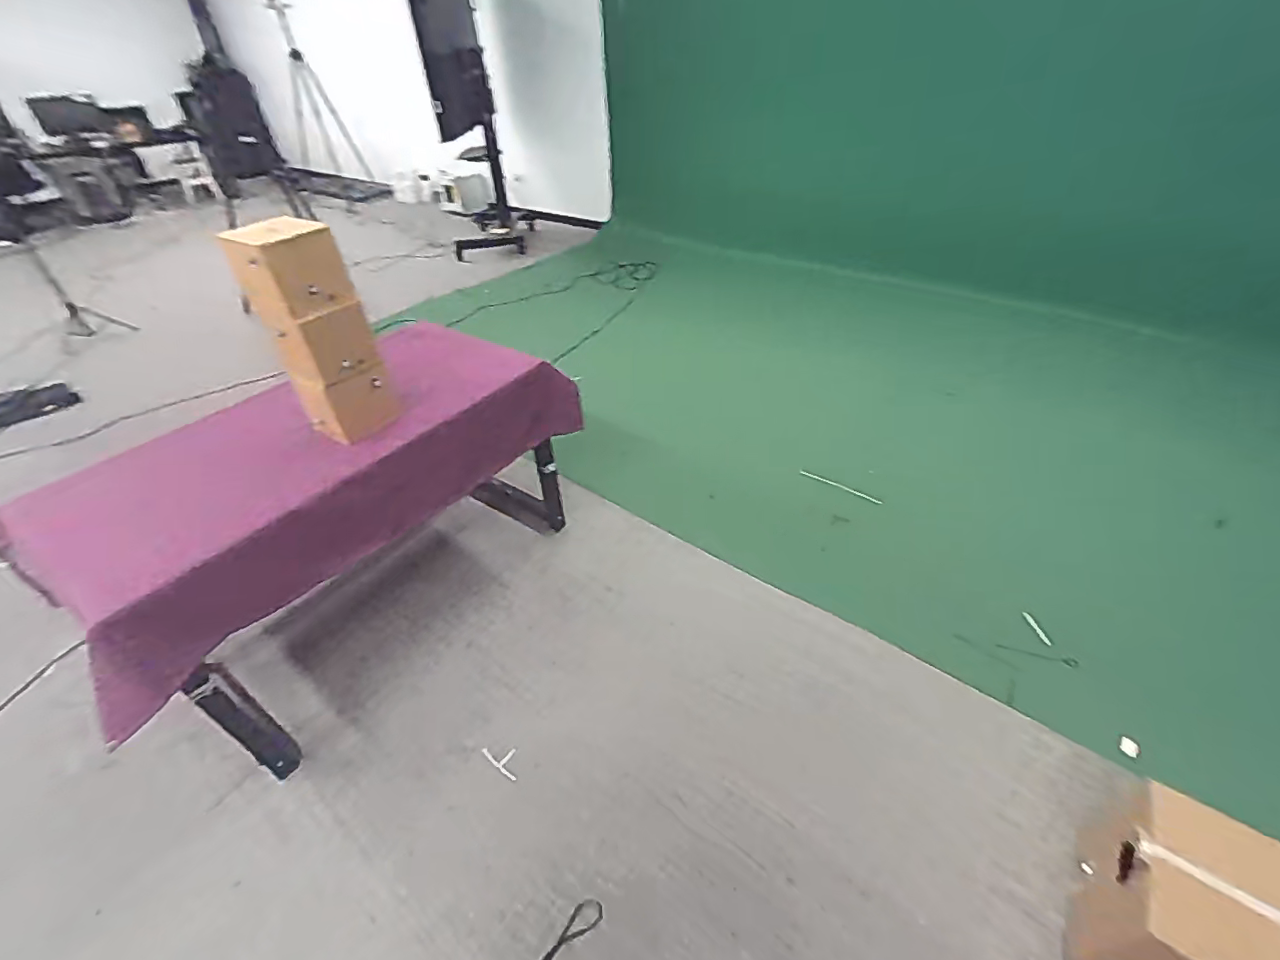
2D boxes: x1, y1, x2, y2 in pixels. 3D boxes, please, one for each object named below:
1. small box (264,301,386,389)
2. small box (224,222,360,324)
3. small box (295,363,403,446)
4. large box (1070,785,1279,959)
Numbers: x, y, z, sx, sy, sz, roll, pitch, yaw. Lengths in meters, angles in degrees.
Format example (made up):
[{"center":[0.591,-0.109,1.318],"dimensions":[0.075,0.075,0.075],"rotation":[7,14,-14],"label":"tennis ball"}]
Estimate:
[{"center":[-0.767,-0.344,1.330],"dimensions":[0.179,0.176,0.168],"rotation":[22,46,27],"label":"small box"},{"center":[-0.781,-0.469,1.228],"dimensions":[0.179,0.176,0.168],"rotation":[20,46,25],"label":"small box"},{"center":[-0.757,-0.218,1.433],"dimensions":[0.168,0.176,0.179],"rotation":[22,46,28],"label":"small box"},{"center":[1.124,0.888,1.020],"dimensions":[0.408,0.320,0.320],"rotation":[25,47,28],"label":"large box"}]
